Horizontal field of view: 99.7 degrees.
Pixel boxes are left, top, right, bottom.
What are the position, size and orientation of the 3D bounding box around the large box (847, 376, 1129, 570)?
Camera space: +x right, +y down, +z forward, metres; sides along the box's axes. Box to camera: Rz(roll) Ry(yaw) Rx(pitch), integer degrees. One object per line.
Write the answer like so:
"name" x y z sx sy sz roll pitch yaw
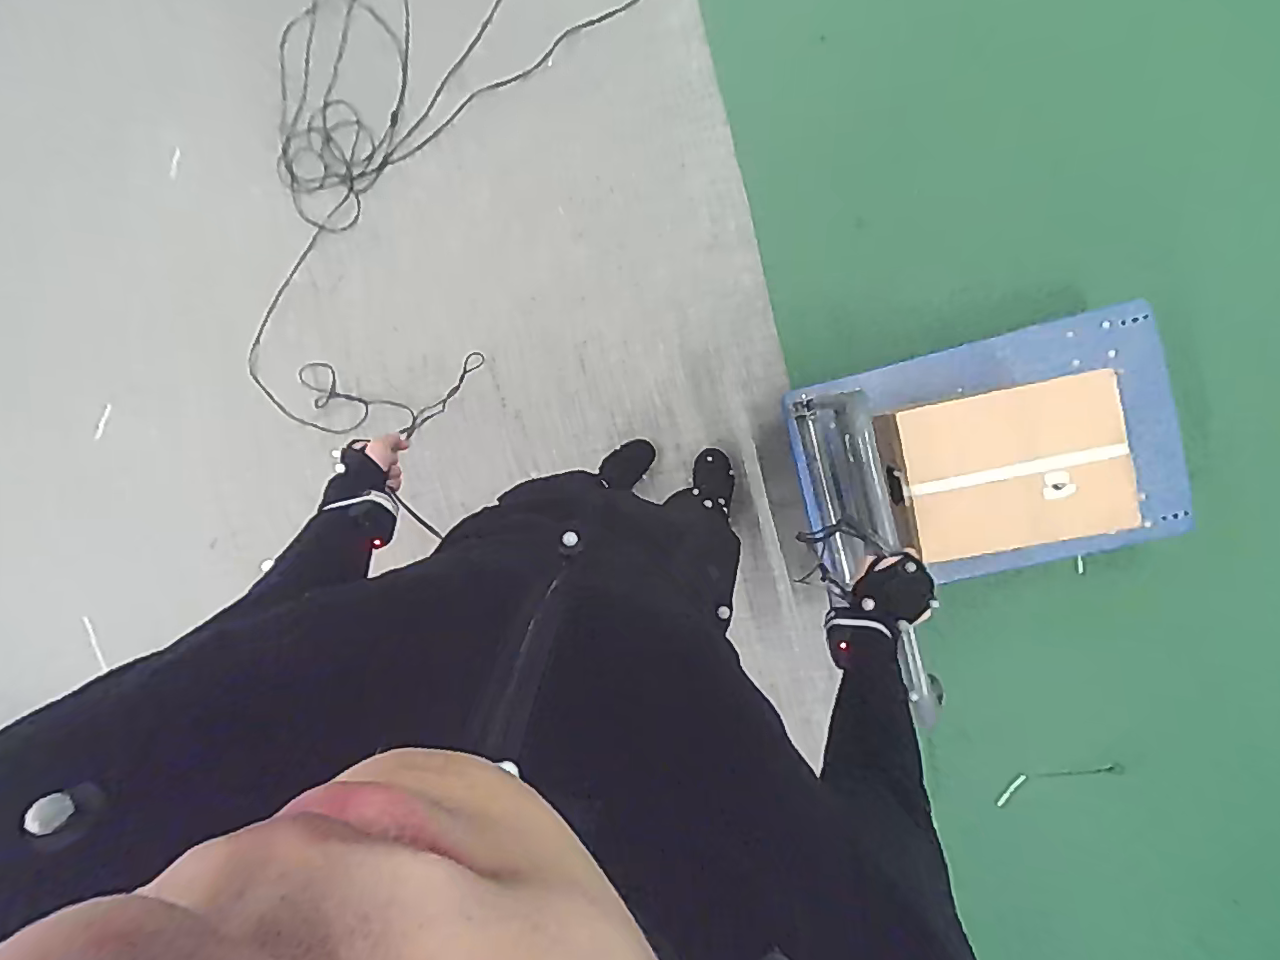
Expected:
"large box" 0.728 -0.018 1.197 0.408 0.320 0.320 -11 94 6
